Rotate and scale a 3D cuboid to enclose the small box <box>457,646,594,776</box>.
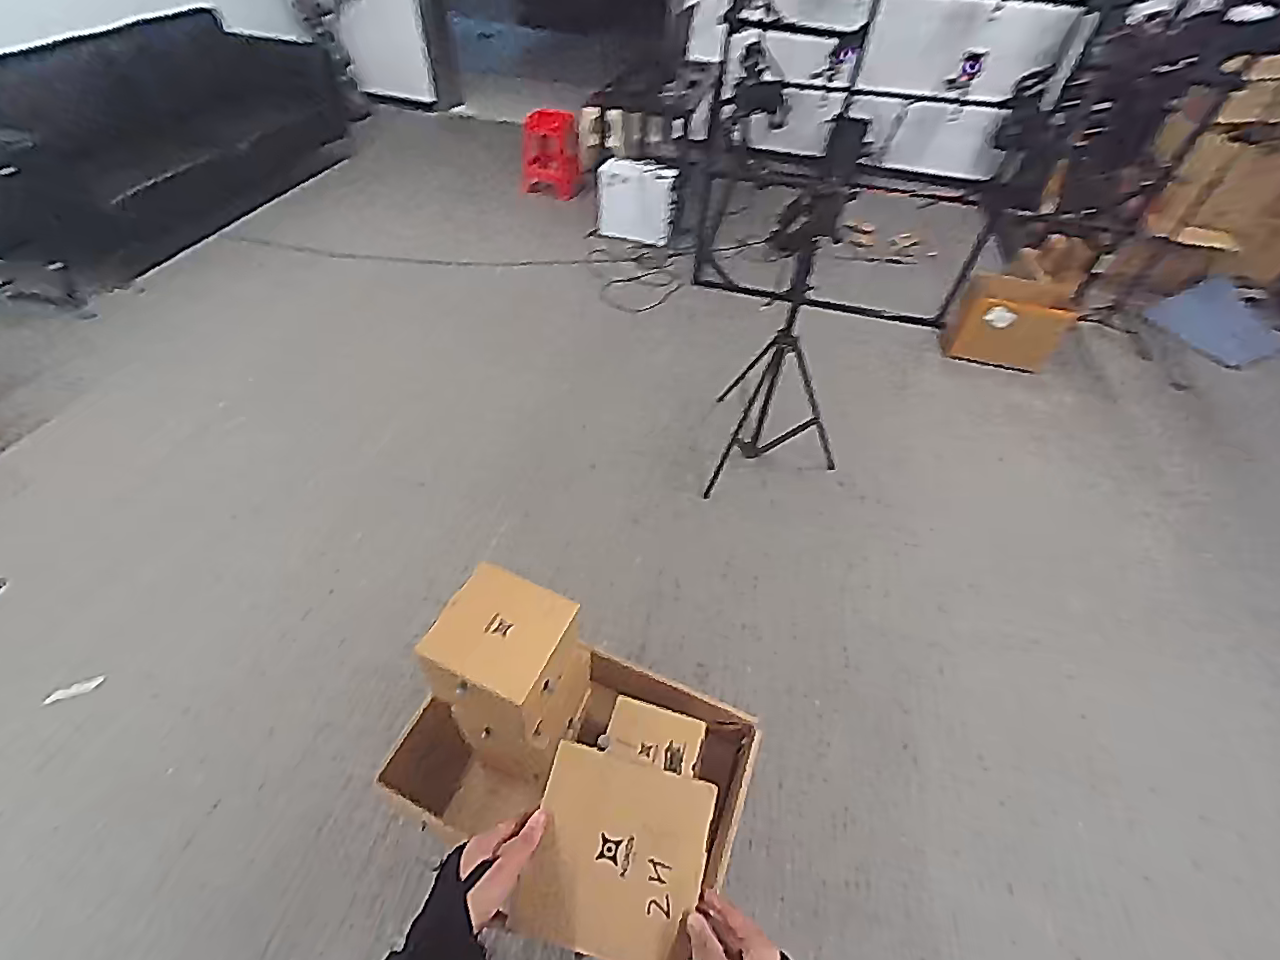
[{"bbox_3d":[-0.192,0.380,0.945,0.168,0.176,0.179,19,48,11],"label":"small box"}]

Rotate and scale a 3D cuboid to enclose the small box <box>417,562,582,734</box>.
[{"bbox_3d":[-0.201,0.263,0.829,0.179,0.176,0.168,21,49,12],"label":"small box"}]

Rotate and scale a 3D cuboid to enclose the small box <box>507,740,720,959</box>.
[{"bbox_3d":[-0.025,0.405,0.603,0.179,0.176,0.168,15,63,4],"label":"small box"}]
